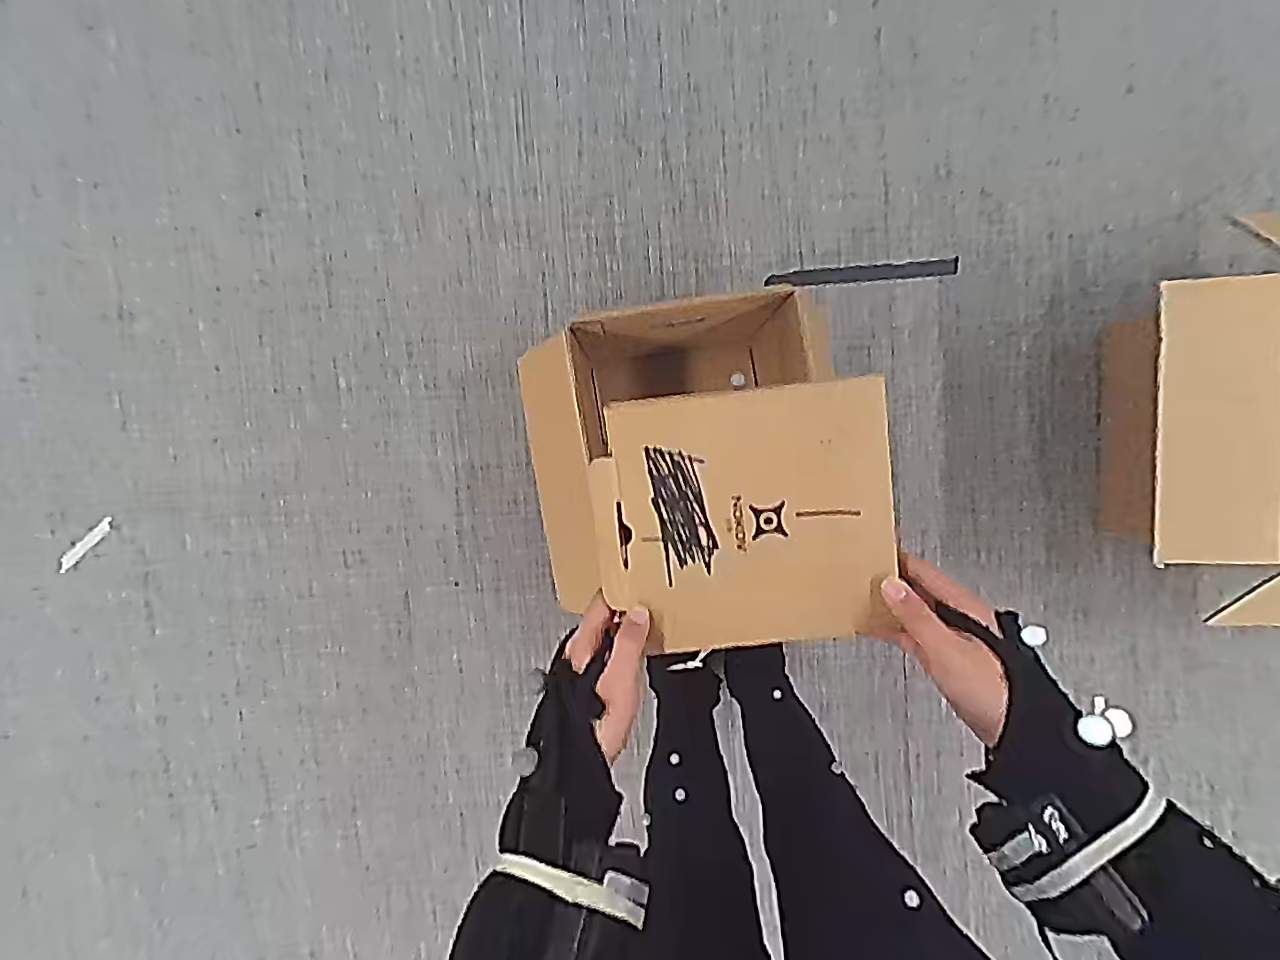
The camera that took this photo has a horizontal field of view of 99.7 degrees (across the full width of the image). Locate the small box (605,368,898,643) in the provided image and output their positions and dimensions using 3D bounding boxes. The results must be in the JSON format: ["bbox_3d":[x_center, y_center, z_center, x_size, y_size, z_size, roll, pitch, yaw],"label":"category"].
[{"bbox_3d":[0.076,0.012,0.425,0.179,0.176,0.168,-7,96,3],"label":"small box"}]
